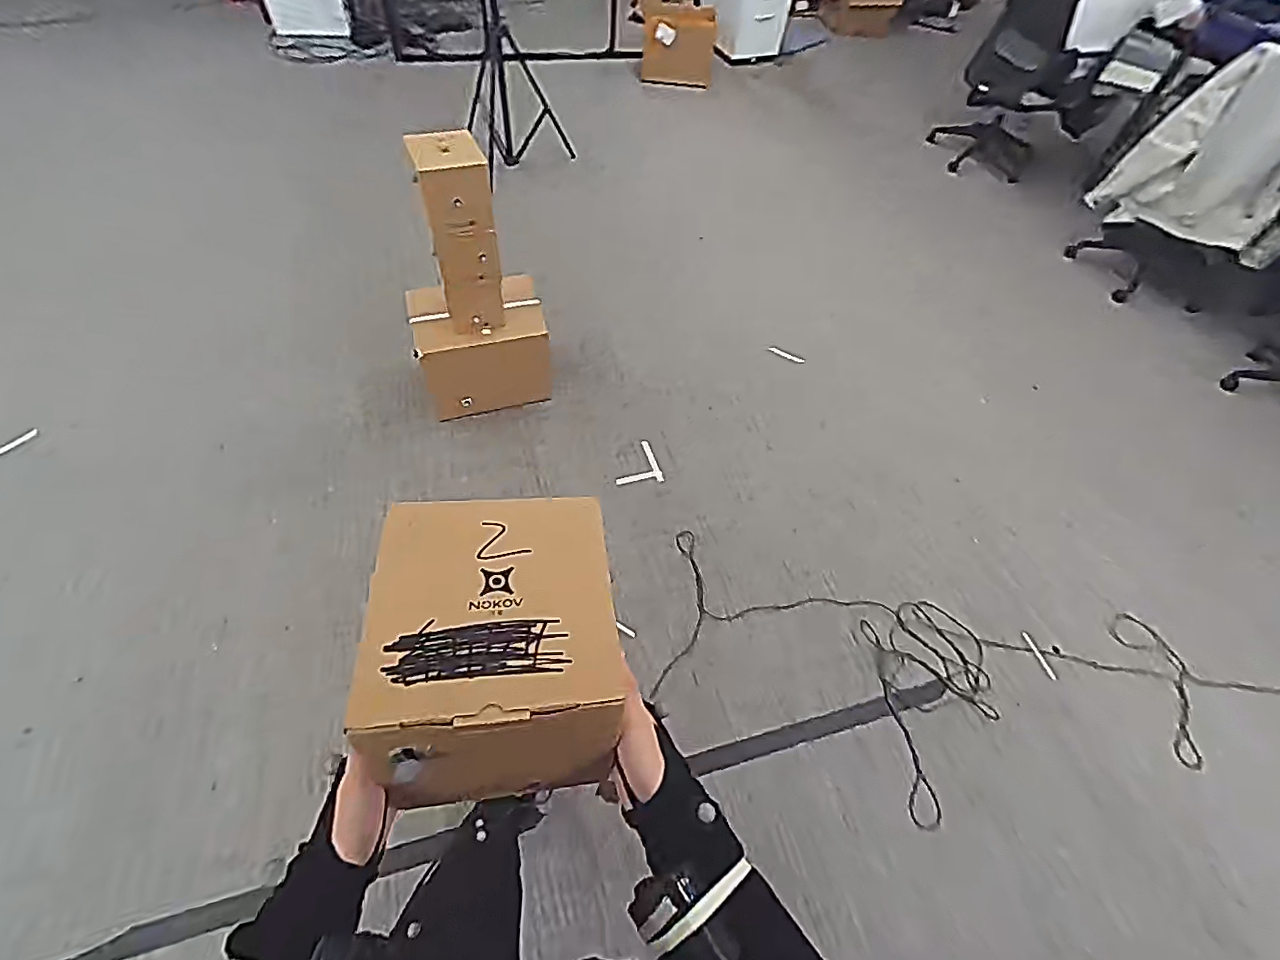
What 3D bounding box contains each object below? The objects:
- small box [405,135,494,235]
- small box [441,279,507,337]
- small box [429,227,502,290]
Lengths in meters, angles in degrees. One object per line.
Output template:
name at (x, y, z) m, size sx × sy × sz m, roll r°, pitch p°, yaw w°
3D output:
small box at (-0.483, -0.749, 1.387) m, size 0.168 × 0.176 × 0.179 m, roll -18°, pitch 60°, yaw -19°
small box at (-0.513, -0.567, 1.658) m, size 0.168 × 0.176 × 0.179 m, roll -14°, pitch 59°, yaw -15°
small box at (-0.493, -0.655, 1.523) m, size 0.168 × 0.176 × 0.179 m, roll -15°, pitch 58°, yaw -17°
